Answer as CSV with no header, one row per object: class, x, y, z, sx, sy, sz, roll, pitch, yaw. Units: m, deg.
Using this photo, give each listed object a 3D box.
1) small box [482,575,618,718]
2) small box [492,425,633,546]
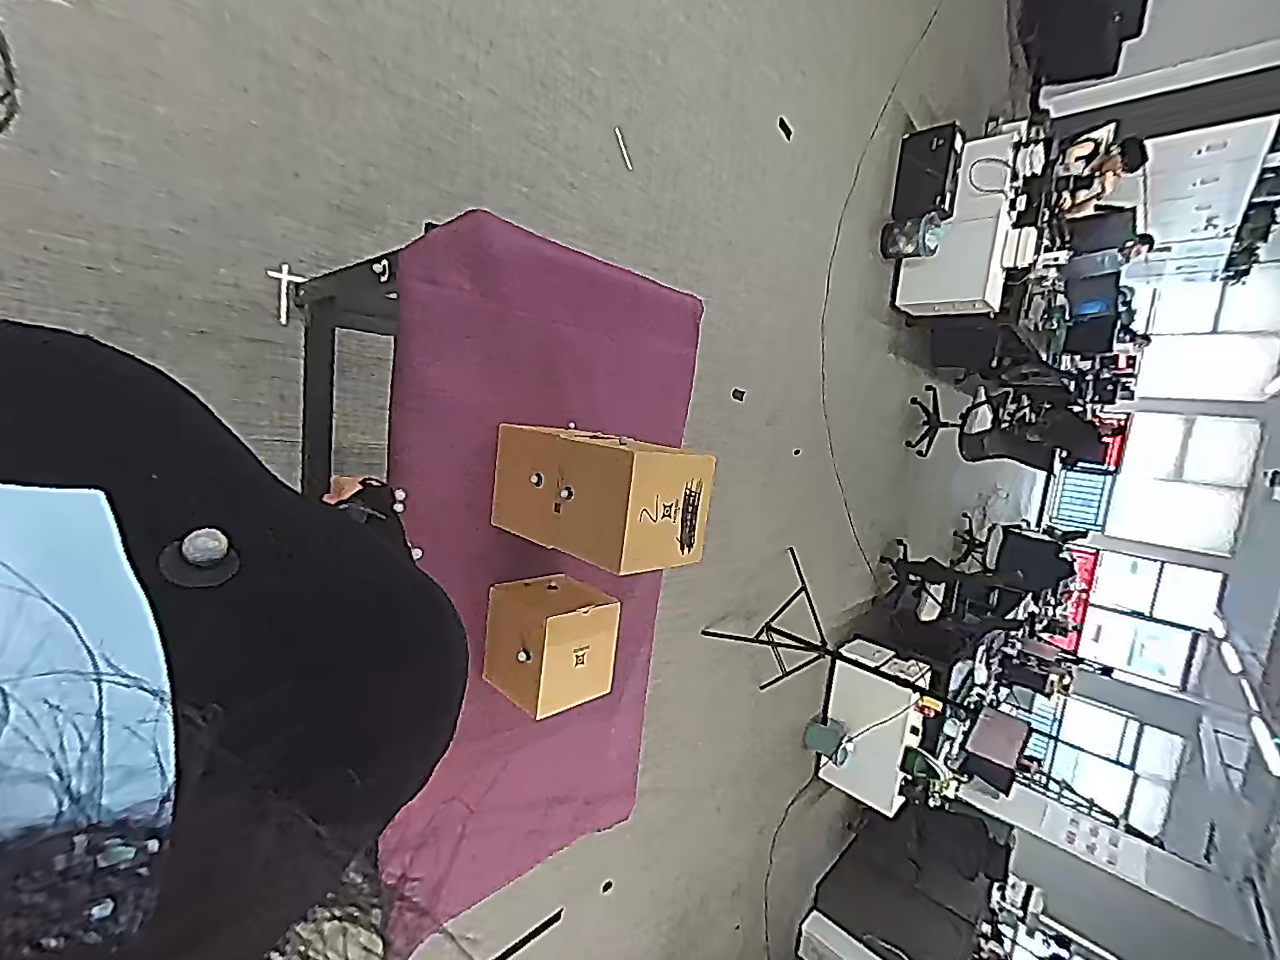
small box,-0.164,0.284,0.965,0.168,0.176,0.179,1,99,-47
small box,-0.135,0.003,0.925,0.168,0.176,0.179,0,100,-47
